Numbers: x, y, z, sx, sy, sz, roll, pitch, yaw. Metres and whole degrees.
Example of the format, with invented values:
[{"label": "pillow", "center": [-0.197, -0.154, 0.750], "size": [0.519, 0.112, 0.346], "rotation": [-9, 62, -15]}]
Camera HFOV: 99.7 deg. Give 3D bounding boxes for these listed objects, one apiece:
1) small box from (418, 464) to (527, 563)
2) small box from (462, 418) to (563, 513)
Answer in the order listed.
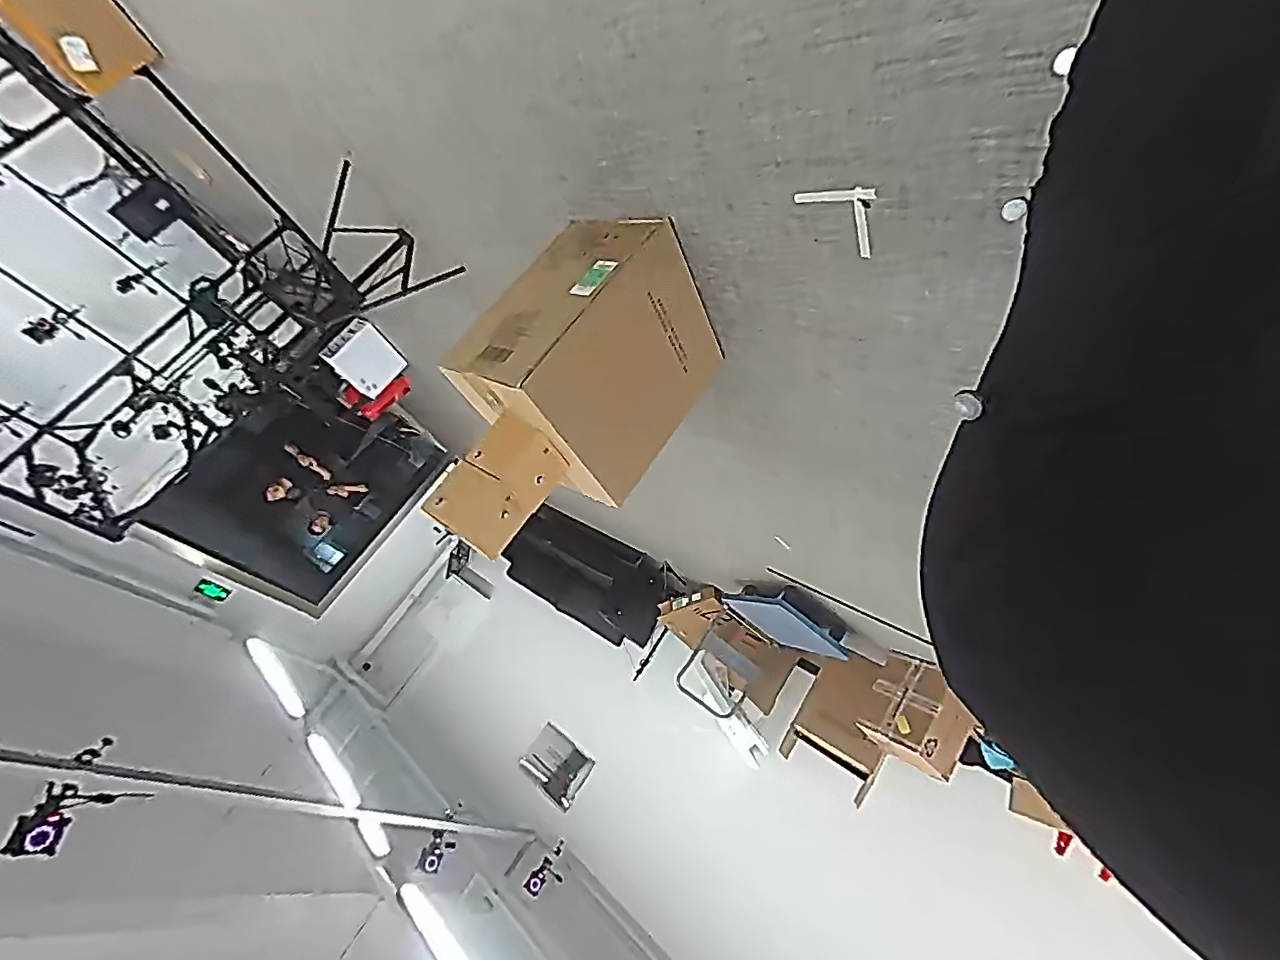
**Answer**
[{"label": "small box", "center": [-0.430, 0.081, 1.411], "size": [0.179, 0.176, 0.168], "rotation": [24, 160, 35]}, {"label": "small box", "center": [-0.332, -0.044, 1.456], "size": [0.179, 0.176, 0.168], "rotation": [23, 159, 37]}]
